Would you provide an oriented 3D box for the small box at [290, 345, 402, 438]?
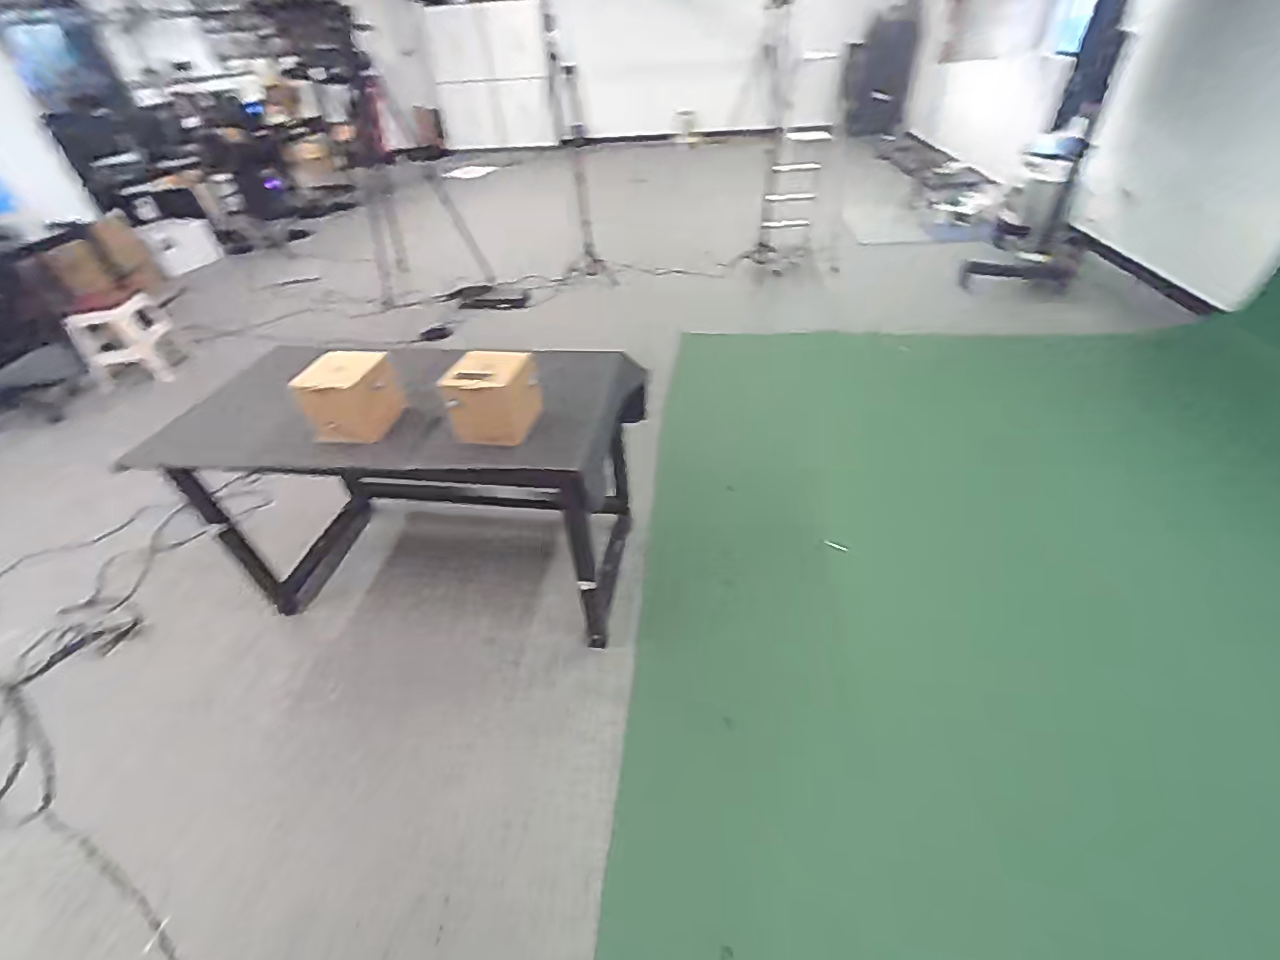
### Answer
[{"bbox_3d":[-0.737,-0.228,1.383,0.168,0.176,0.179,5,41,8],"label":"small box"}]
